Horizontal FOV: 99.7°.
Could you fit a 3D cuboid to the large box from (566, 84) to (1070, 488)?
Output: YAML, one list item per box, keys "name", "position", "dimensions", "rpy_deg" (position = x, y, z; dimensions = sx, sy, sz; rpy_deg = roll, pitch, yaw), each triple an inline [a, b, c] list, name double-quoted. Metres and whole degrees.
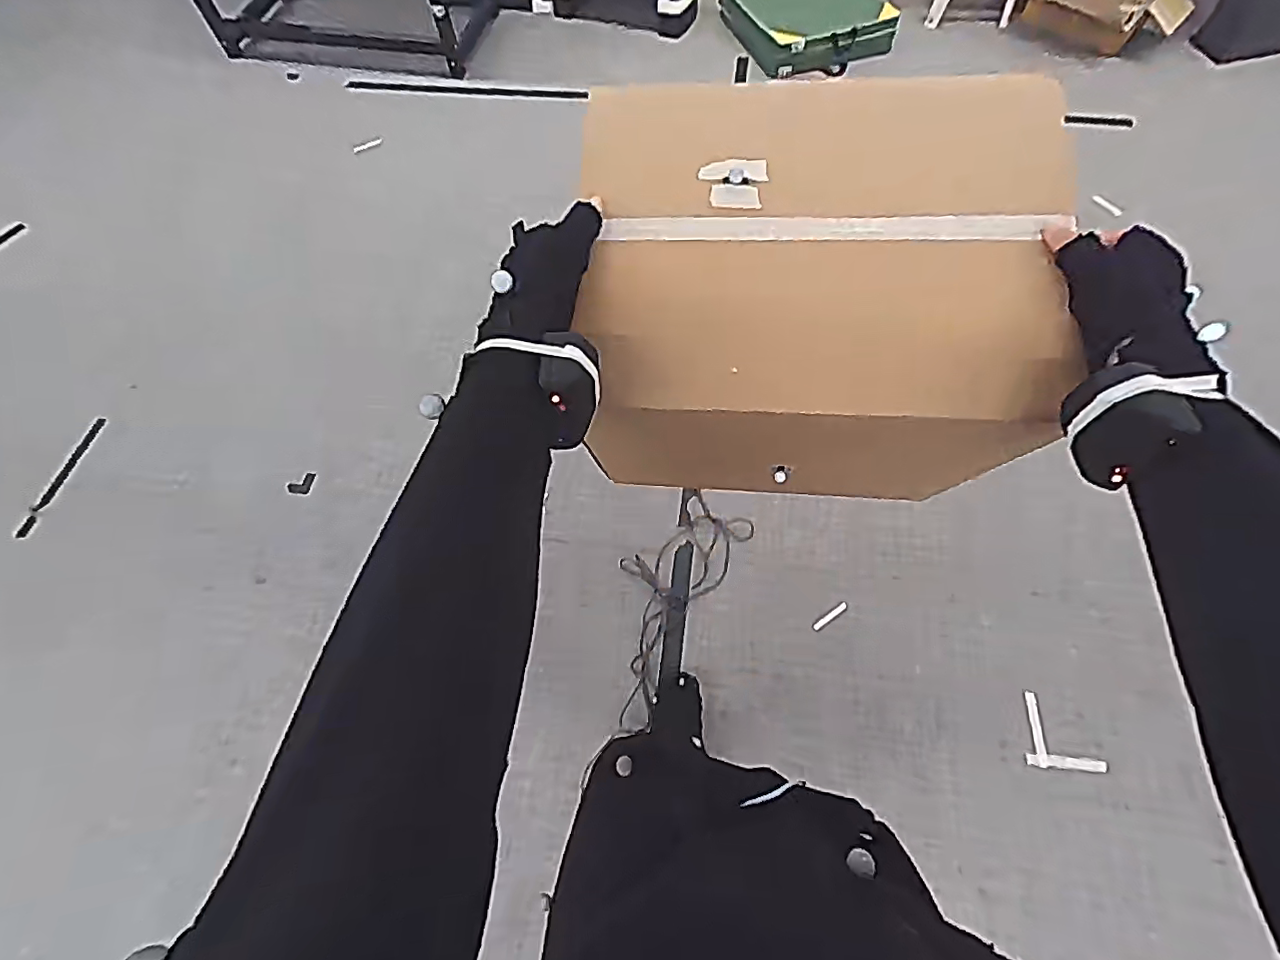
- name: "large box"
  position: [0.162, -0.174, 0.612]
  dimensions: [0.408, 0.320, 0.320]
  rpy_deg: [3, 77, 8]
